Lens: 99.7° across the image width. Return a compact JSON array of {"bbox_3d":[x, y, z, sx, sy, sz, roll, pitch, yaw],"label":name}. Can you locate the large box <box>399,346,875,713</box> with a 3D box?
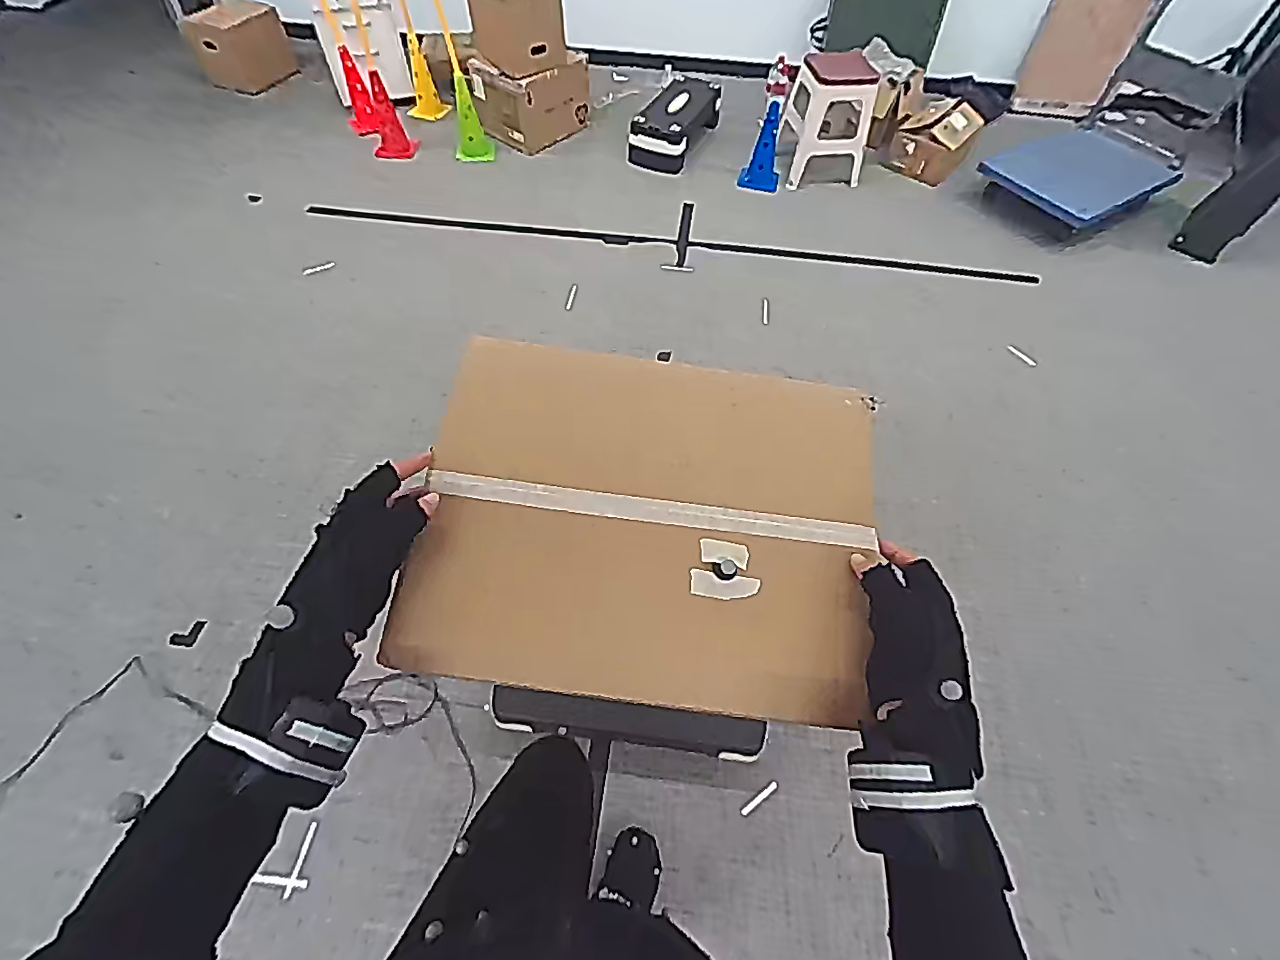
[{"bbox_3d":[0.003,0.081,0.634,0.408,0.320,0.320,8,70,-1],"label":"large box"}]
